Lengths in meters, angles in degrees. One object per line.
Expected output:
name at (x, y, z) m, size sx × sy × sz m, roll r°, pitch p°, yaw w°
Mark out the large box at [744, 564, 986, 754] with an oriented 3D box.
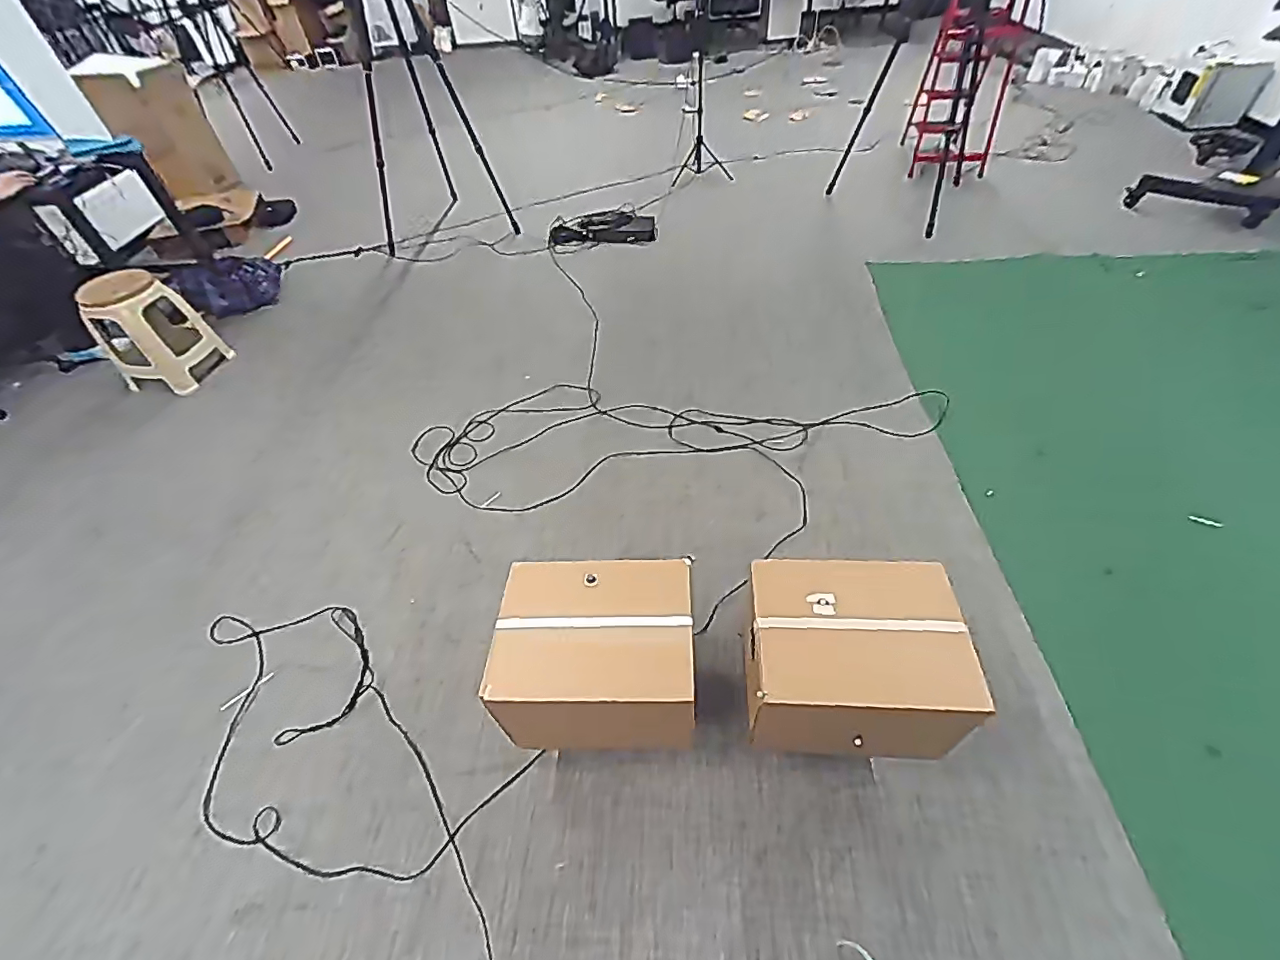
large box at (0.449, 0.397, 1.195) m, size 0.408 × 0.320 × 0.320 m, roll 0°, pitch 48°, yaw 6°
